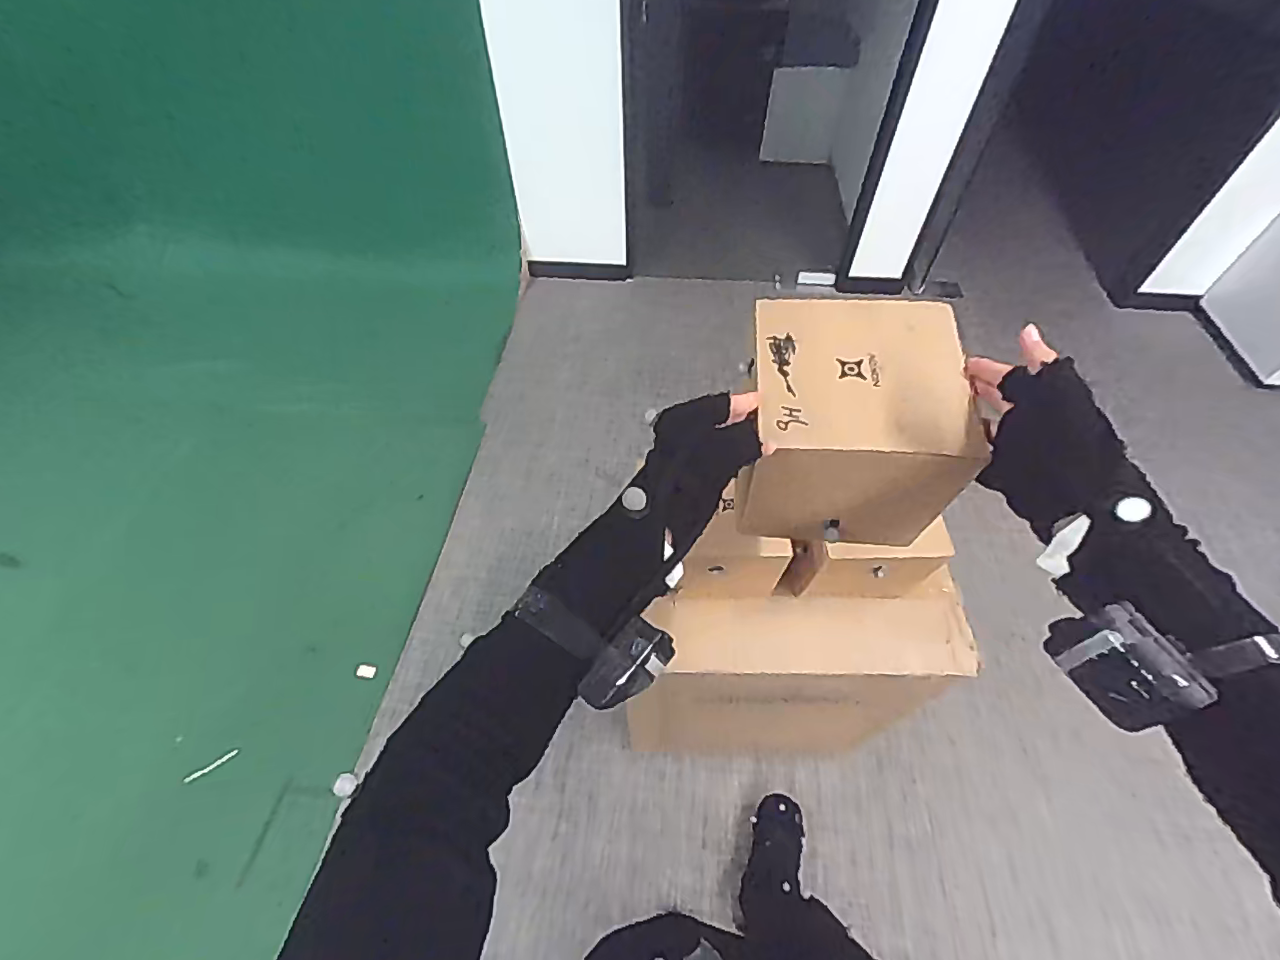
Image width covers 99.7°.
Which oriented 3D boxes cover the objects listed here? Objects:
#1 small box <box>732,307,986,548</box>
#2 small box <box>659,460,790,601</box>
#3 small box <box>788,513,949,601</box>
[{"bbox_3d":[0.190,-0.043,0.528,0.179,0.176,0.168,4,58,4],"label":"small box"},{"bbox_3d":[0.118,0.084,0.838,0.179,0.176,0.168,0,58,-1],"label":"small box"},{"bbox_3d":[0.332,0.084,0.840,0.179,0.176,0.168,-1,59,-2],"label":"small box"}]
